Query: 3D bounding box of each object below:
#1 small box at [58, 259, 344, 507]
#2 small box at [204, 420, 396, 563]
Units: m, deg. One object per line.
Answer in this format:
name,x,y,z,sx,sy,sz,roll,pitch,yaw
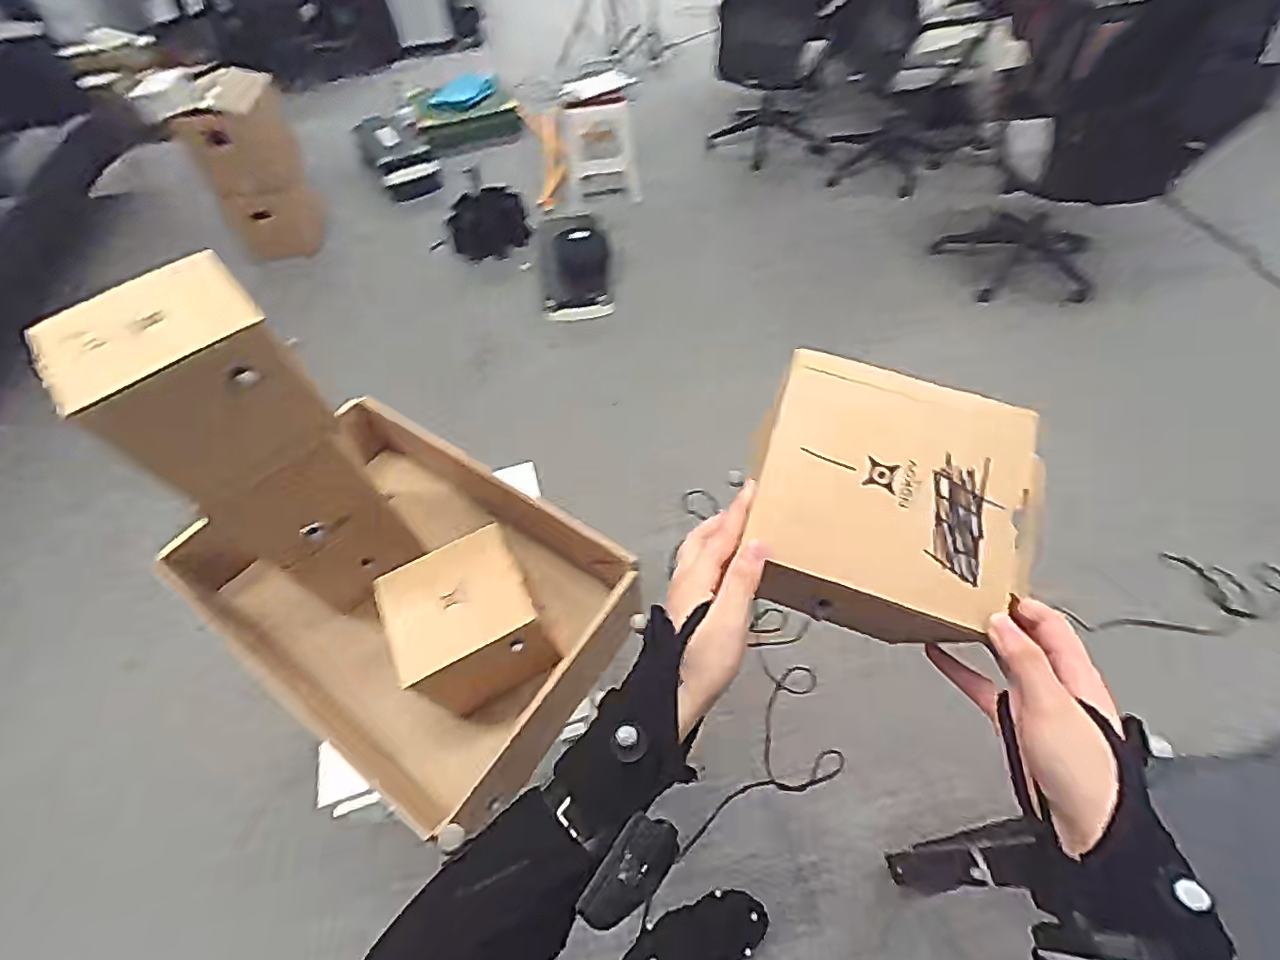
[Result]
small box,-0.469,-0.106,0.608,0.179,0.176,0.168,-39,61,-19
small box,-0.476,-0.017,0.747,0.168,0.176,0.179,-36,62,-17
